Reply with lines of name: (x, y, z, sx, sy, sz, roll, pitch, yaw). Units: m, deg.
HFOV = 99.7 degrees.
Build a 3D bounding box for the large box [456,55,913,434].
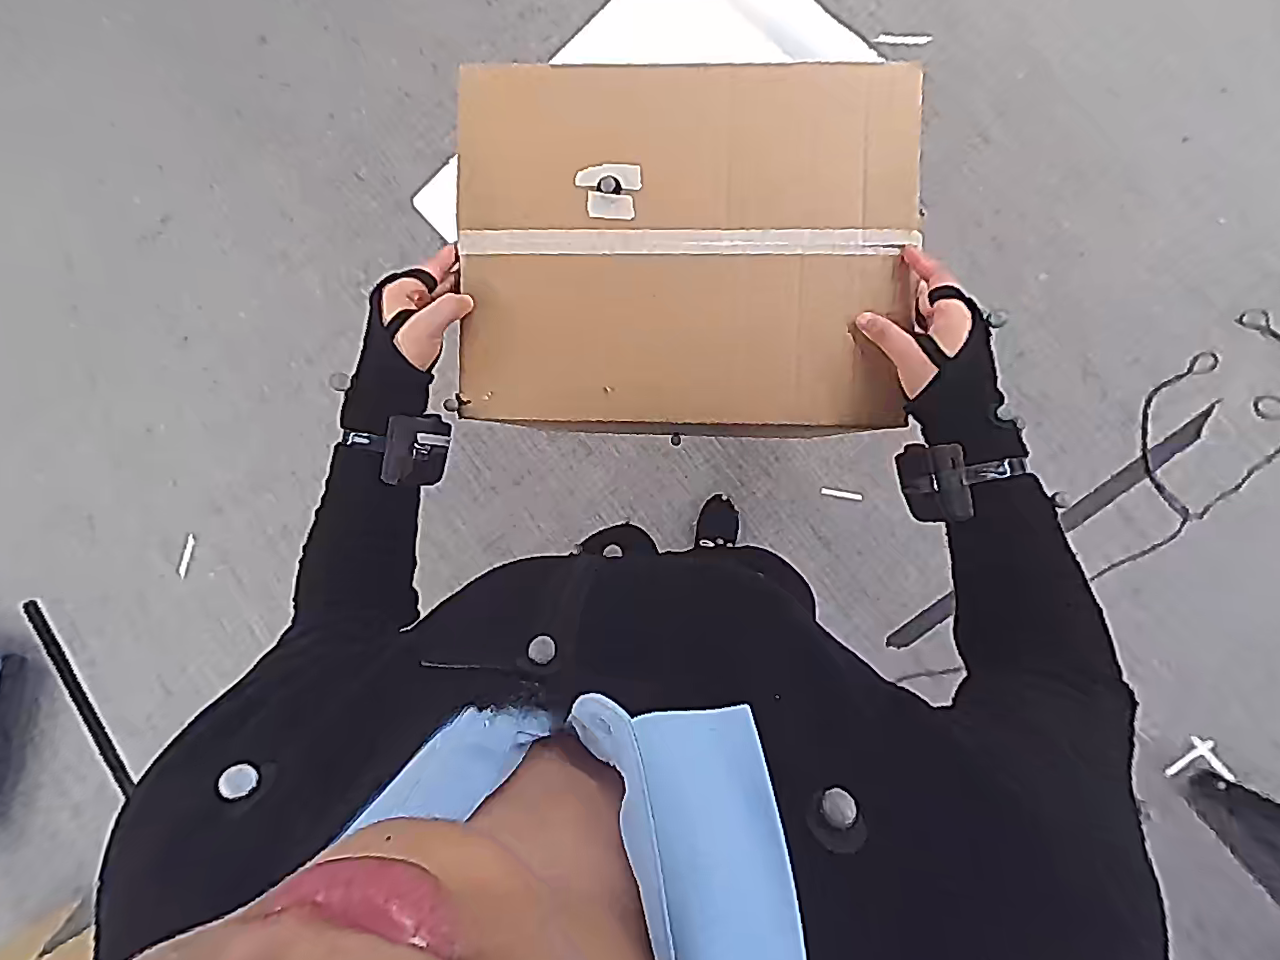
large box: (0.045, -0.213, 0.624, 0.408, 0.320, 0.320, 0, 92, 3)
